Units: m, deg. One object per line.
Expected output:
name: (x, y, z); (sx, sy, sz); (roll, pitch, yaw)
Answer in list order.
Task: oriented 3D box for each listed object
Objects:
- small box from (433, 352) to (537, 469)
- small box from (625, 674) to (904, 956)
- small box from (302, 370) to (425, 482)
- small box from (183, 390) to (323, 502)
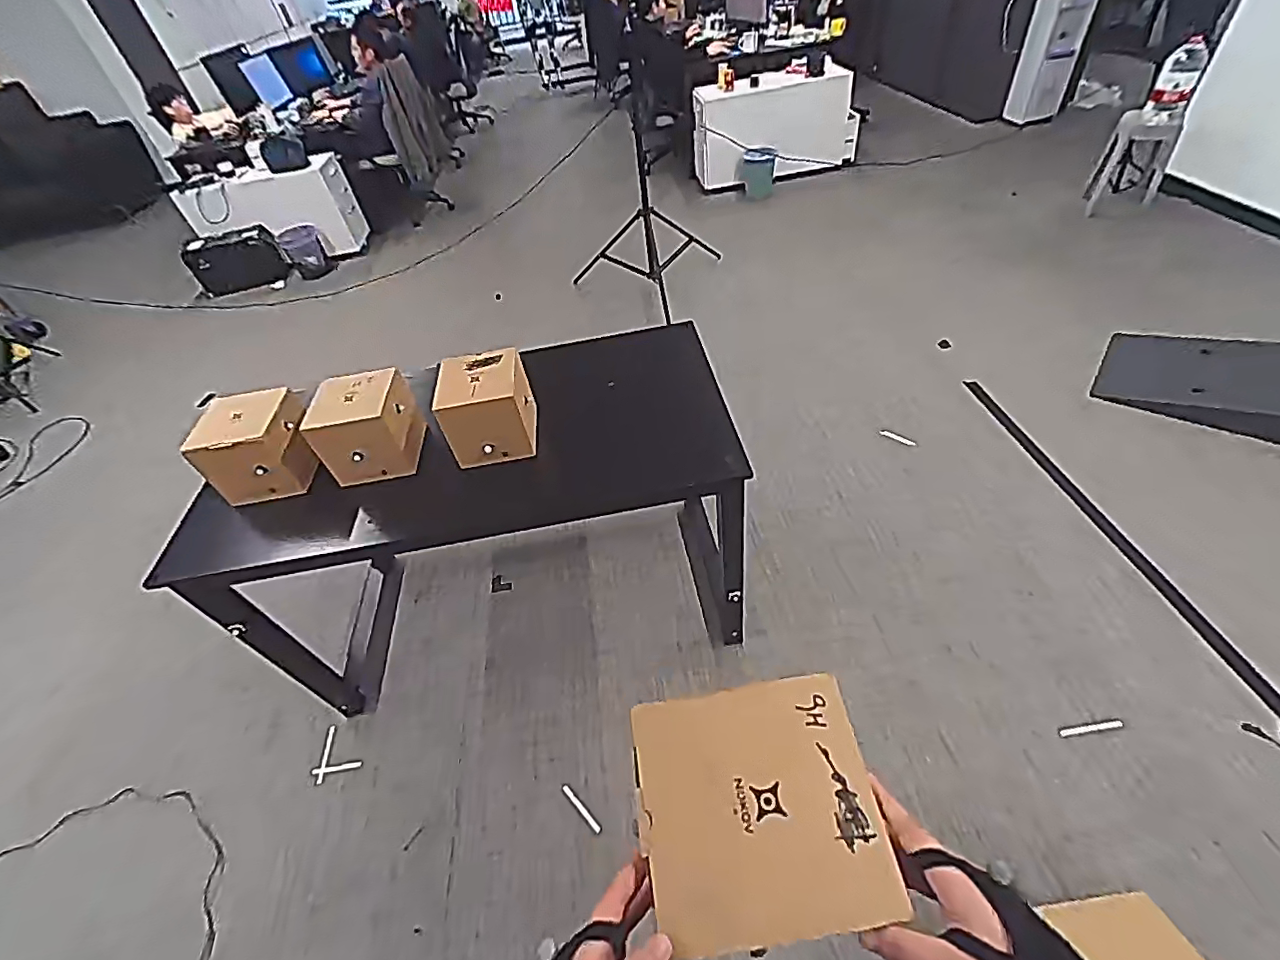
small box: (-0.325, -0.149, 1.171); (0.168, 0.176, 0.179); (-10, 46, 0)
small box: (0.091, 0.286, 0.470); (0.179, 0.176, 0.168); (-10, 55, 0)
small box: (-0.588, -0.110, 1.177); (0.168, 0.176, 0.179); (-10, 45, 0)
small box: (-0.823, -0.067, 1.179); (0.168, 0.176, 0.179); (-10, 45, -1)
